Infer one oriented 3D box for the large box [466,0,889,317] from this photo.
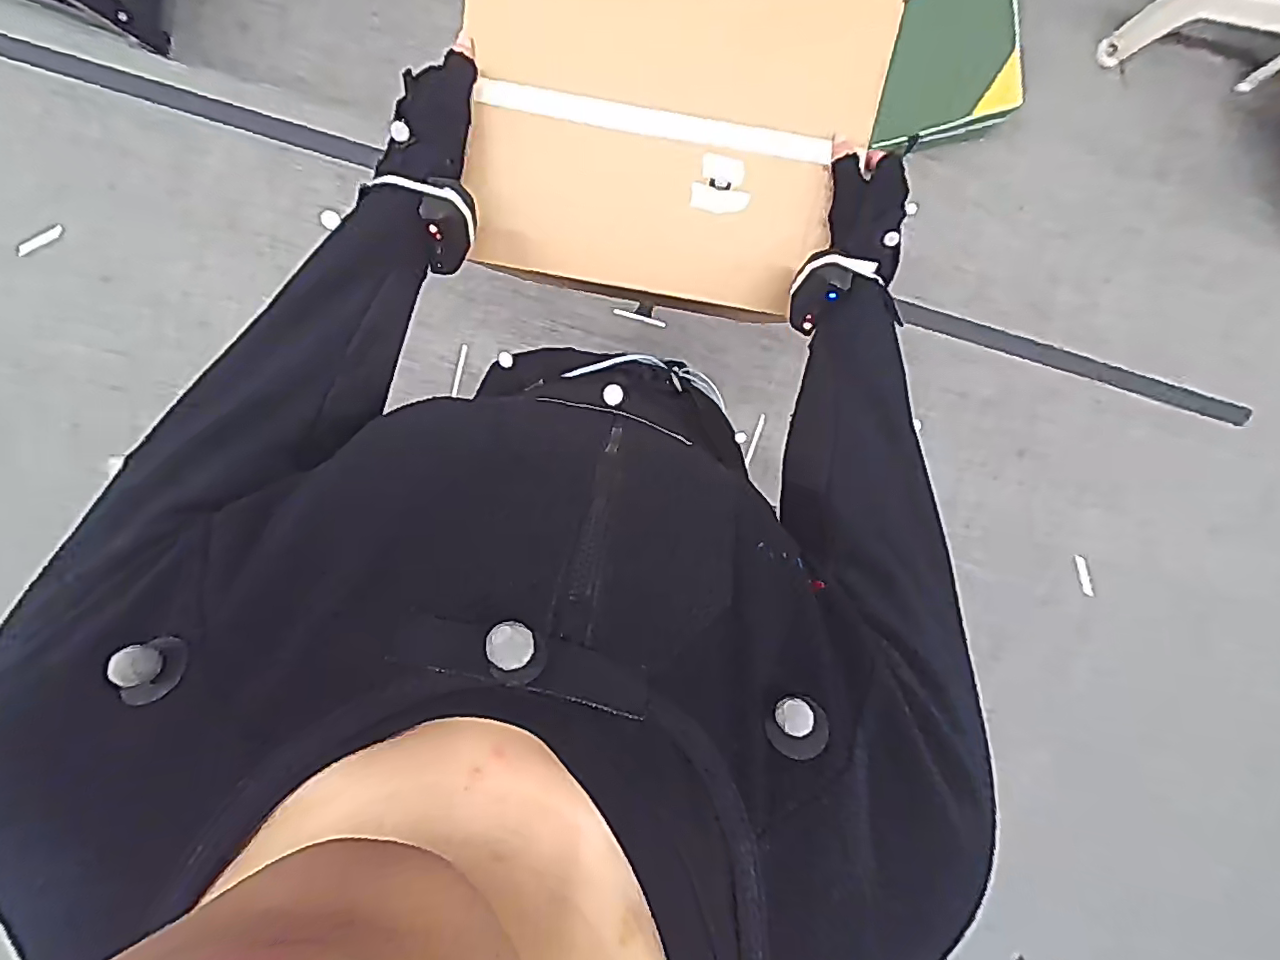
[{"bbox_3d":[0.024,-0.399,0.698,0.408,0.320,0.320,9,107,-2],"label":"large box"}]
